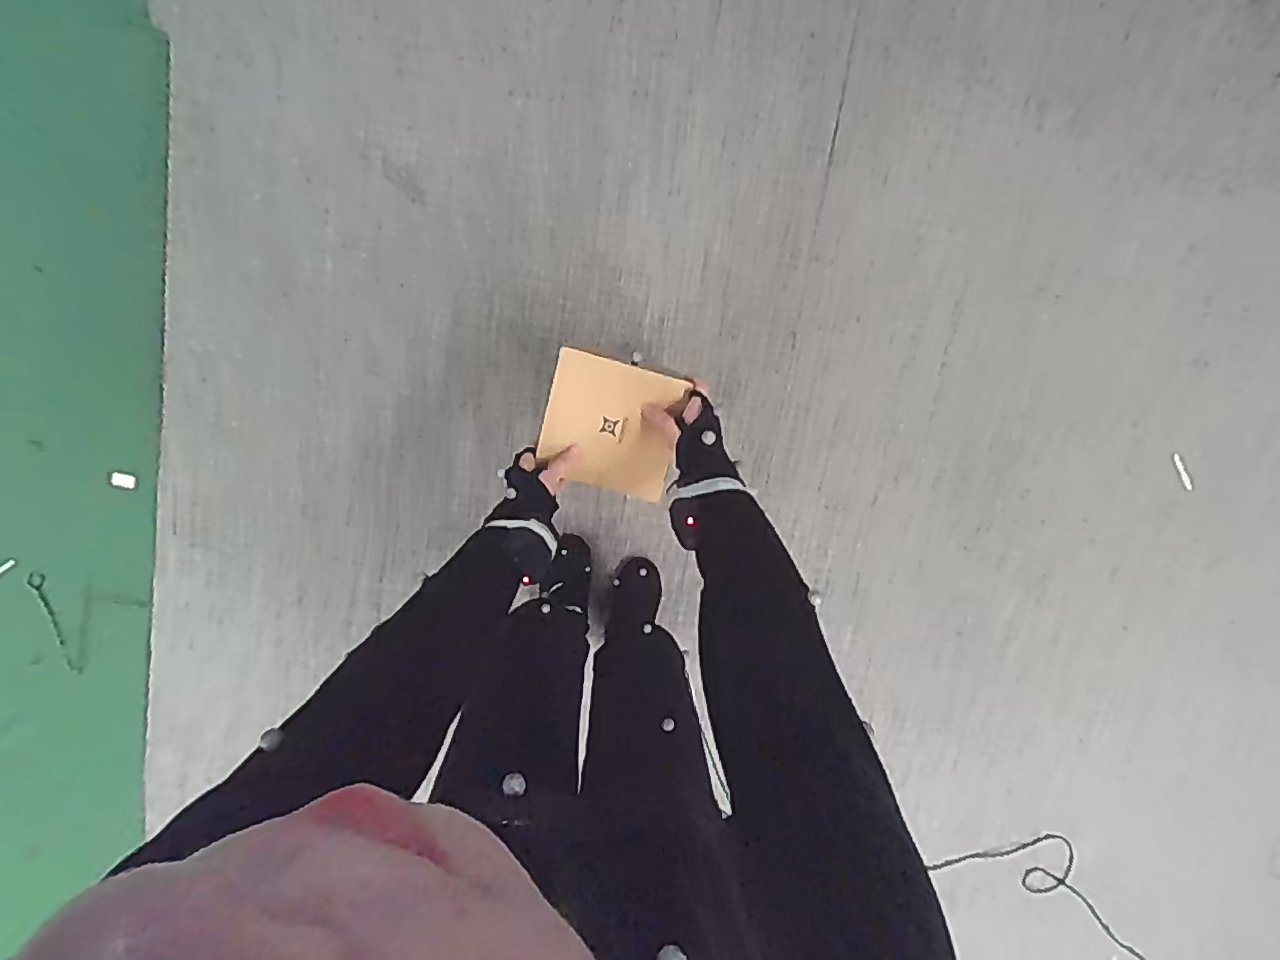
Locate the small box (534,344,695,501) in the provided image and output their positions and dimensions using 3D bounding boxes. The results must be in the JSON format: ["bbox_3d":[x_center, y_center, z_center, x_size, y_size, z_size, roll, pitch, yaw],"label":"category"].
[{"bbox_3d":[-0.040,-0.090,0.771,0.179,0.176,0.168,14,106,-9],"label":"small box"}]
